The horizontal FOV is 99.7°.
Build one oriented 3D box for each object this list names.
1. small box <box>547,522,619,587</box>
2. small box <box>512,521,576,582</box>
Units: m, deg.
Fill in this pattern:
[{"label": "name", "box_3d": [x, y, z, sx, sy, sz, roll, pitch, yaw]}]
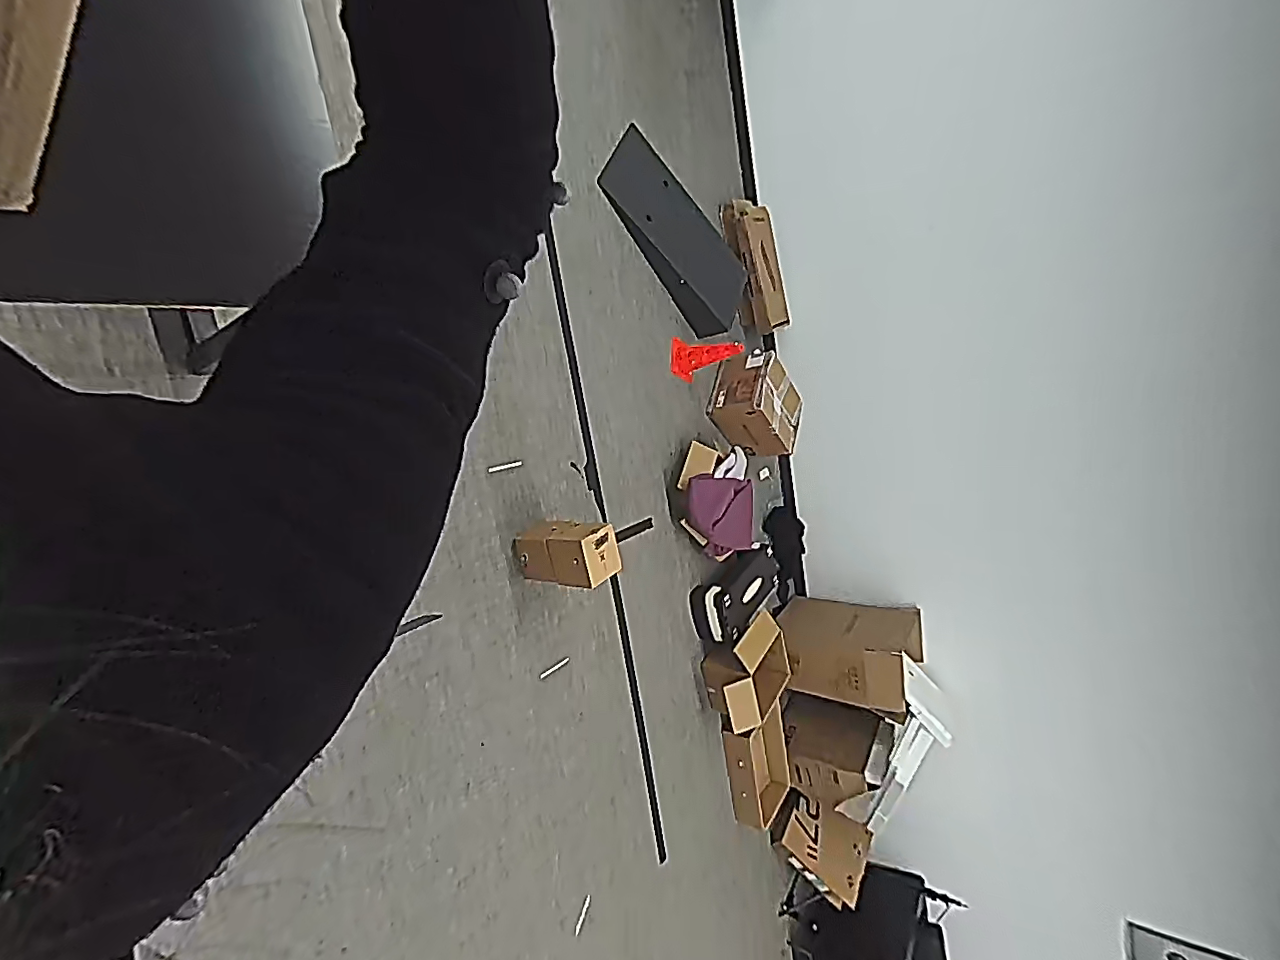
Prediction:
[{"label": "small box", "box_3d": [-0.200, 0.253, 1.872, 0.168, 0.176, 0.179, -27, 109, -49]}, {"label": "small box", "box_3d": [-0.332, 0.254, 1.970, 0.179, 0.176, 0.168, -29, 110, -48]}]
